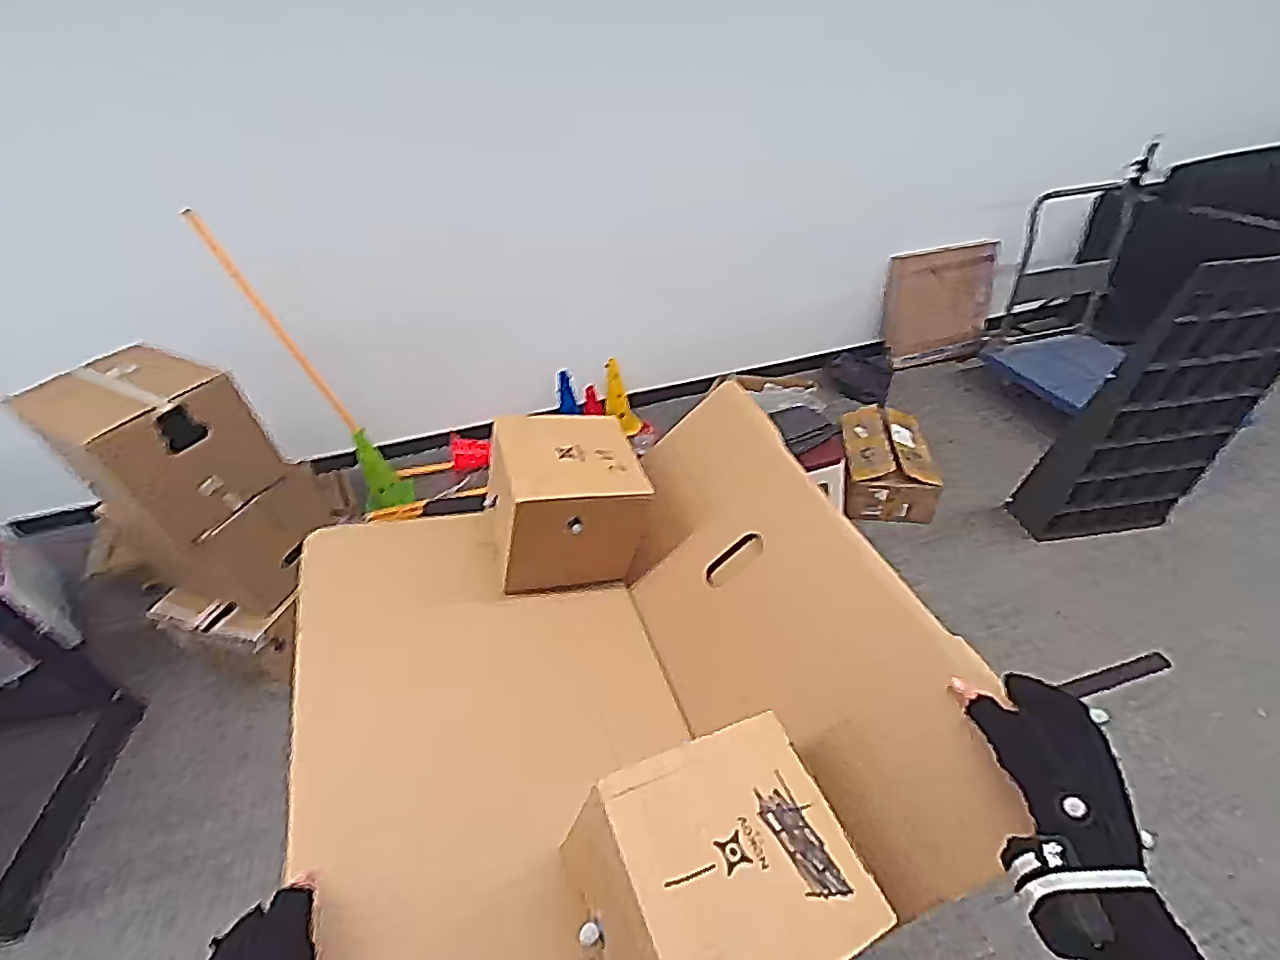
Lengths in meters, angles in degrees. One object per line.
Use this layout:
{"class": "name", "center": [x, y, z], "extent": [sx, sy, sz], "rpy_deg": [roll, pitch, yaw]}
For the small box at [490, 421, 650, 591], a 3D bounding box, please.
{"class": "small box", "center": [-0.108, 0.036, 0.742], "extent": [0.179, 0.176, 0.168], "rpy_deg": [-2, 43, -23]}
